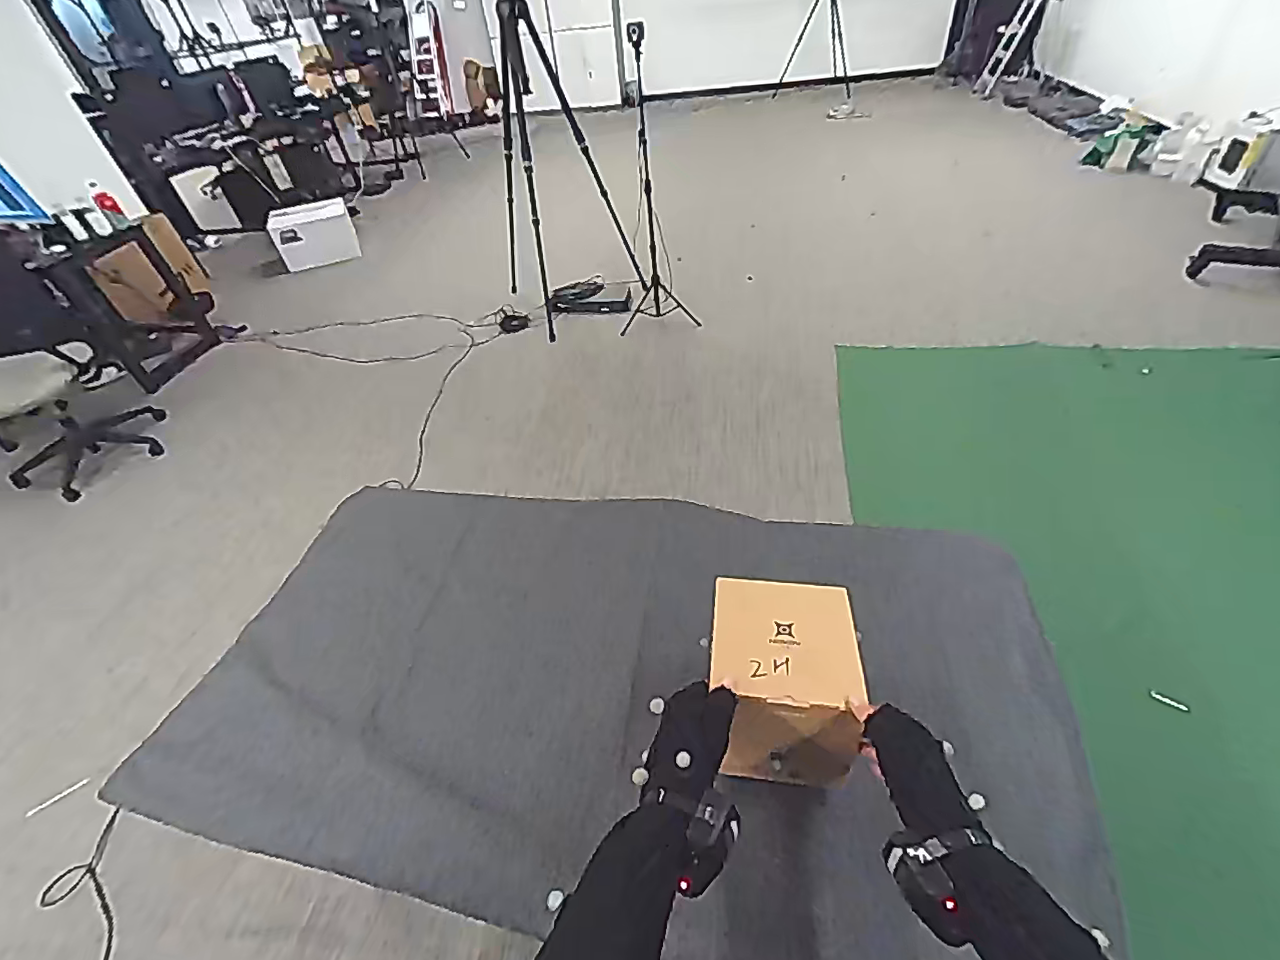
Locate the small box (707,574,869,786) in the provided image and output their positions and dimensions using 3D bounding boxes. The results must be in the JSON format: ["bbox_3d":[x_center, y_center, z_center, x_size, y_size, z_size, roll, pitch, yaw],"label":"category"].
[{"bbox_3d":[0.173,0.245,0.679,0.168,0.176,0.179,3,35,9],"label":"small box"}]
